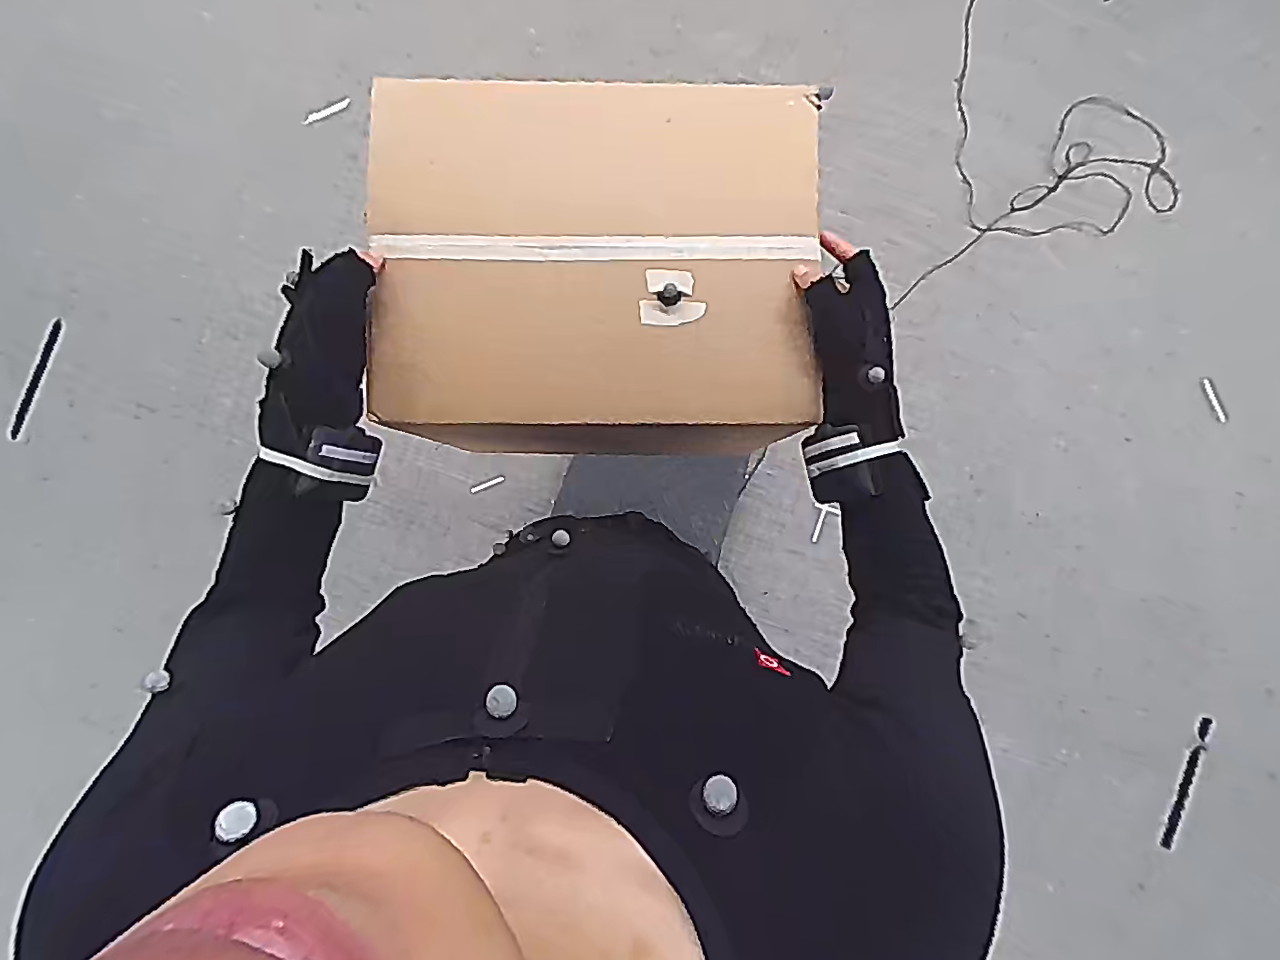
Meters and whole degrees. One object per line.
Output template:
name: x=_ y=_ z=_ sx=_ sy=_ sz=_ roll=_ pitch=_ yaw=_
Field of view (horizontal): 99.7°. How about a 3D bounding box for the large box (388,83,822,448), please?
large box: x=-0.036 y=-0.210 z=0.648 sx=0.408 sy=0.320 sz=0.320 roll=1 pitch=88 yaw=-1
